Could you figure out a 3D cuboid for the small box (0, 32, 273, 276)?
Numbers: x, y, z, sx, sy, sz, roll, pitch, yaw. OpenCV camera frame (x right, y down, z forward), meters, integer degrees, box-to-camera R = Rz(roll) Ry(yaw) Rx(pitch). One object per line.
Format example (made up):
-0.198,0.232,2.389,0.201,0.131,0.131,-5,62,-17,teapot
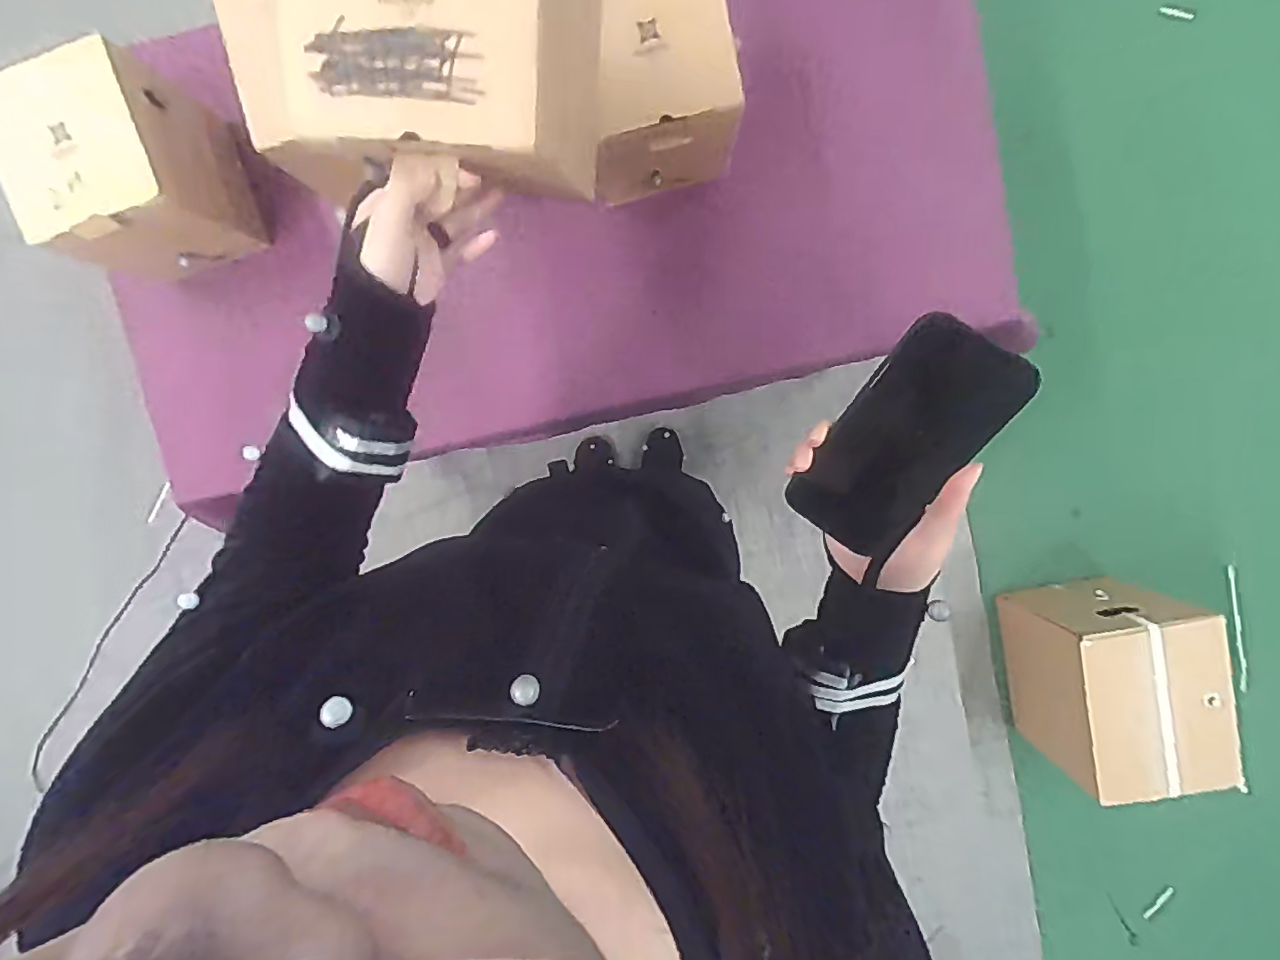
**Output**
-0.602,-0.375,0.658,0.168,0.176,0.179,-17,96,4,small box

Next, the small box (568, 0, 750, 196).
0.018,-0.464,0.622,0.168,0.176,0.179,-13,97,4,small box

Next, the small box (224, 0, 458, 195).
-0.334,-0.462,0.638,0.168,0.176,0.179,-11,96,3,small box
